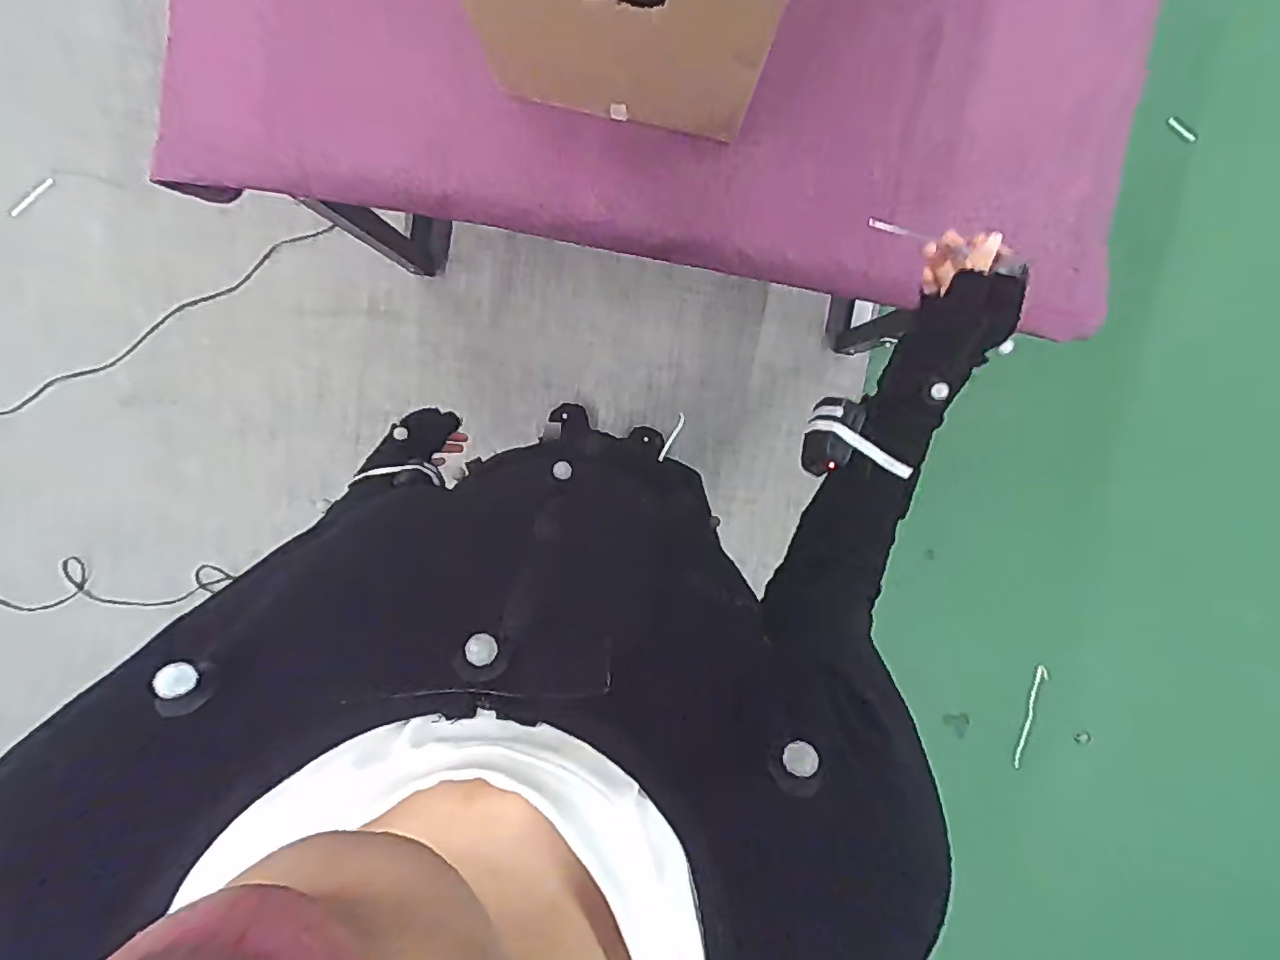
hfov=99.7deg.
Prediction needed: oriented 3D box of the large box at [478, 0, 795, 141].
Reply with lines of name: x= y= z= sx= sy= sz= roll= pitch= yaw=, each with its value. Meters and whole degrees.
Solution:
large box: x=0.019 y=-0.647 z=0.538 sx=0.320 sy=0.320 sz=0.408 roll=11 pitch=98 yaw=-2
